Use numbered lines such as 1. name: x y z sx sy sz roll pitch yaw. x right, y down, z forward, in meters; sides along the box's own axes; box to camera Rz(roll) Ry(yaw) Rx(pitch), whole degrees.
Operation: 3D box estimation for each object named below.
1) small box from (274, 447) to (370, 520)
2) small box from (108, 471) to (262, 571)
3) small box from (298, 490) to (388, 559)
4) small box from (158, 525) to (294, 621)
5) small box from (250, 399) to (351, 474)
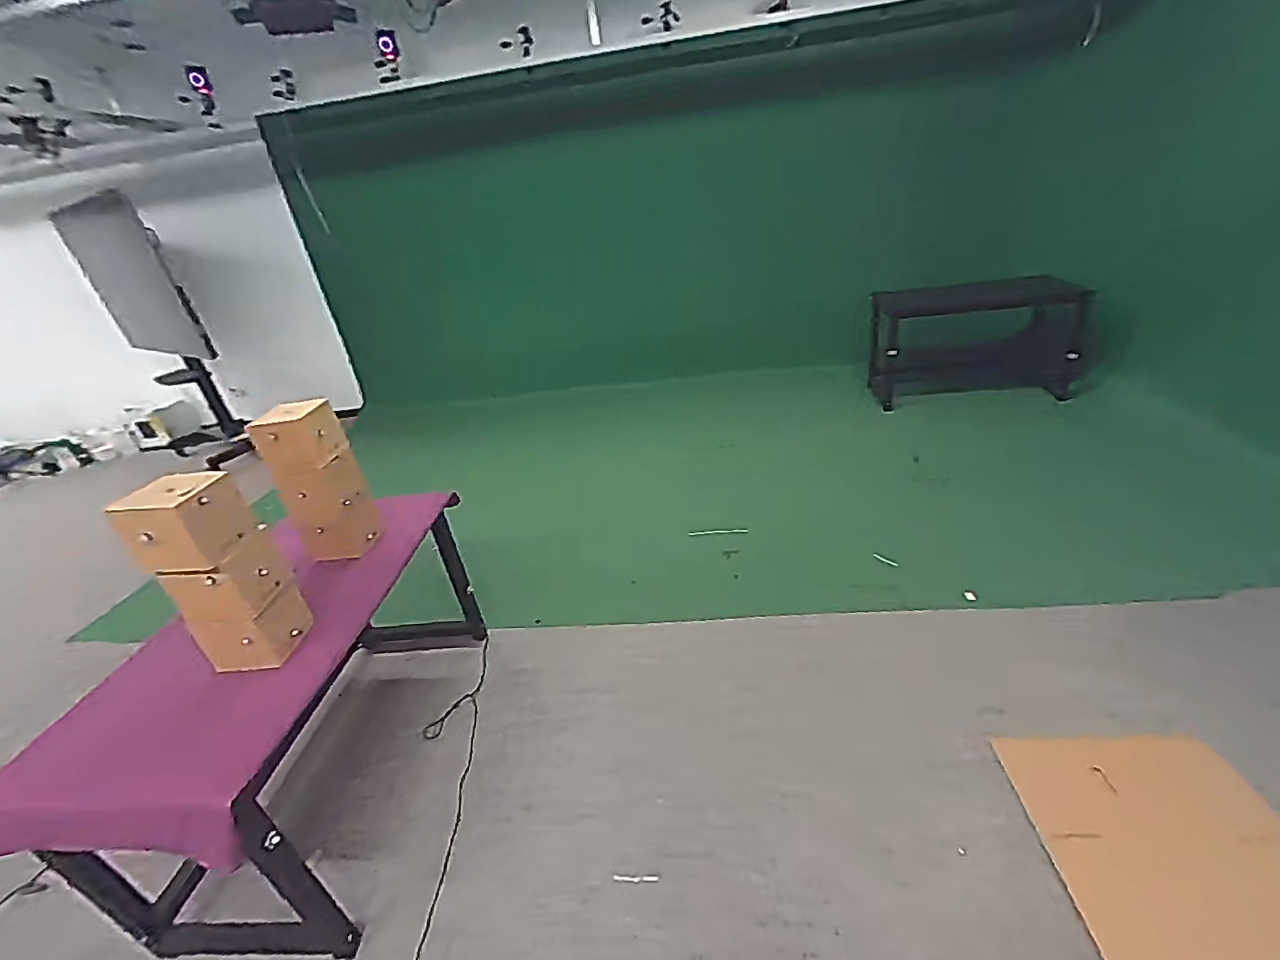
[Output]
1. small box: -1.011 0.012 1.738 0.179 0.176 0.168 -6 30 9
2. small box: -1.033 0.095 1.245 0.179 0.176 0.168 -4 29 7
3. small box: -0.990 0.153 1.819 0.179 0.176 0.168 -4 30 9
4. small box: -1.007 0.230 1.337 0.179 0.176 0.168 -6 28 5
5. small box: -1.035 -0.133 1.669 0.179 0.176 0.168 -7 30 7
